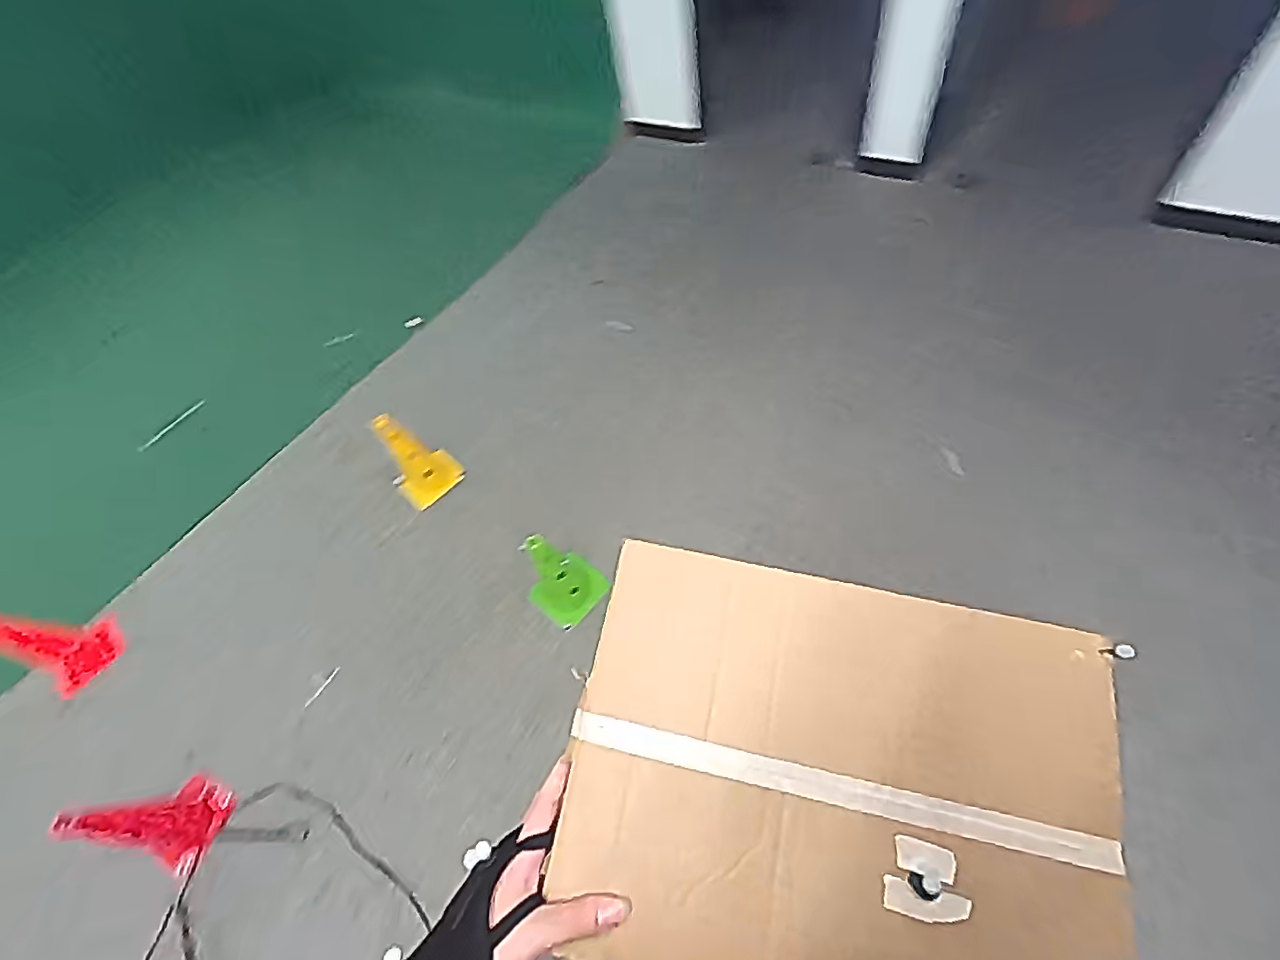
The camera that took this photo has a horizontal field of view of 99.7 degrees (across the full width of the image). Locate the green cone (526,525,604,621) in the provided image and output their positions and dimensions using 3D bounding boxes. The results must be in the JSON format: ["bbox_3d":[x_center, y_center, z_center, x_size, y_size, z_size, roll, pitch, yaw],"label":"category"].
[{"bbox_3d":[-0.251,0.234,1.592,0.202,0.368,0.200,34,69,29],"label":"green cone"}]

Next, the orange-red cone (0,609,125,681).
[{"bbox_3d":[-1.947,0.489,1.754,0.198,0.360,0.199,35,72,29],"label":"orange-red cone"}]

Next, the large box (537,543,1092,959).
[{"bbox_3d":[0.146,0.276,0.570,0.408,0.320,0.320,9,73,6],"label":"large box"}]
